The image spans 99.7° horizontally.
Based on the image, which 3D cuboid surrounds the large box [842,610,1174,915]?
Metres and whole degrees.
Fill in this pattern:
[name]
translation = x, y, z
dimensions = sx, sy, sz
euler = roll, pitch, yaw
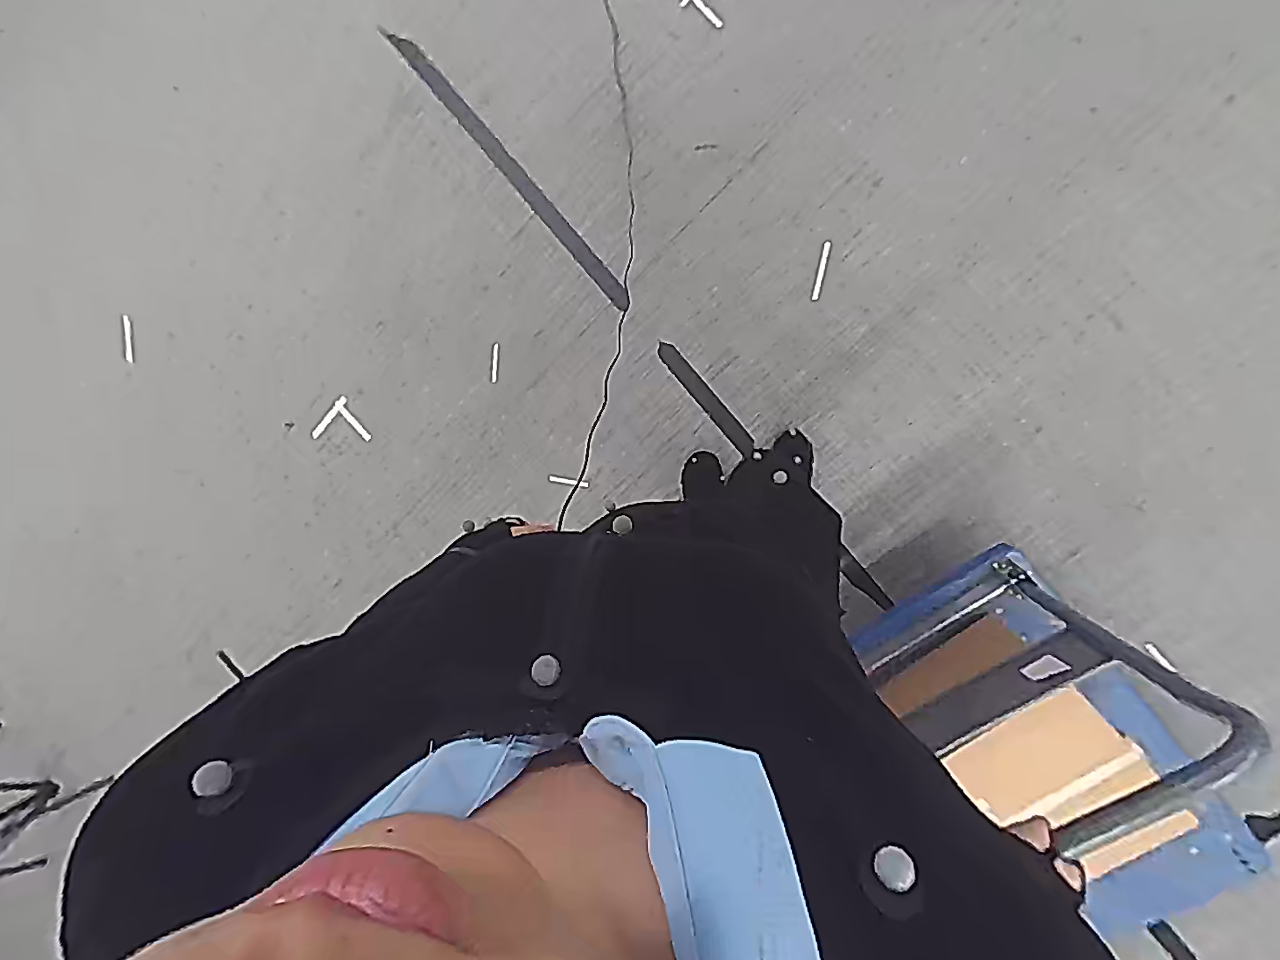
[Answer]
[large box]
translation = 0.690, 0.545, 1.102
dimensions = 0.408, 0.320, 0.320
euler = -43, 87, 15
